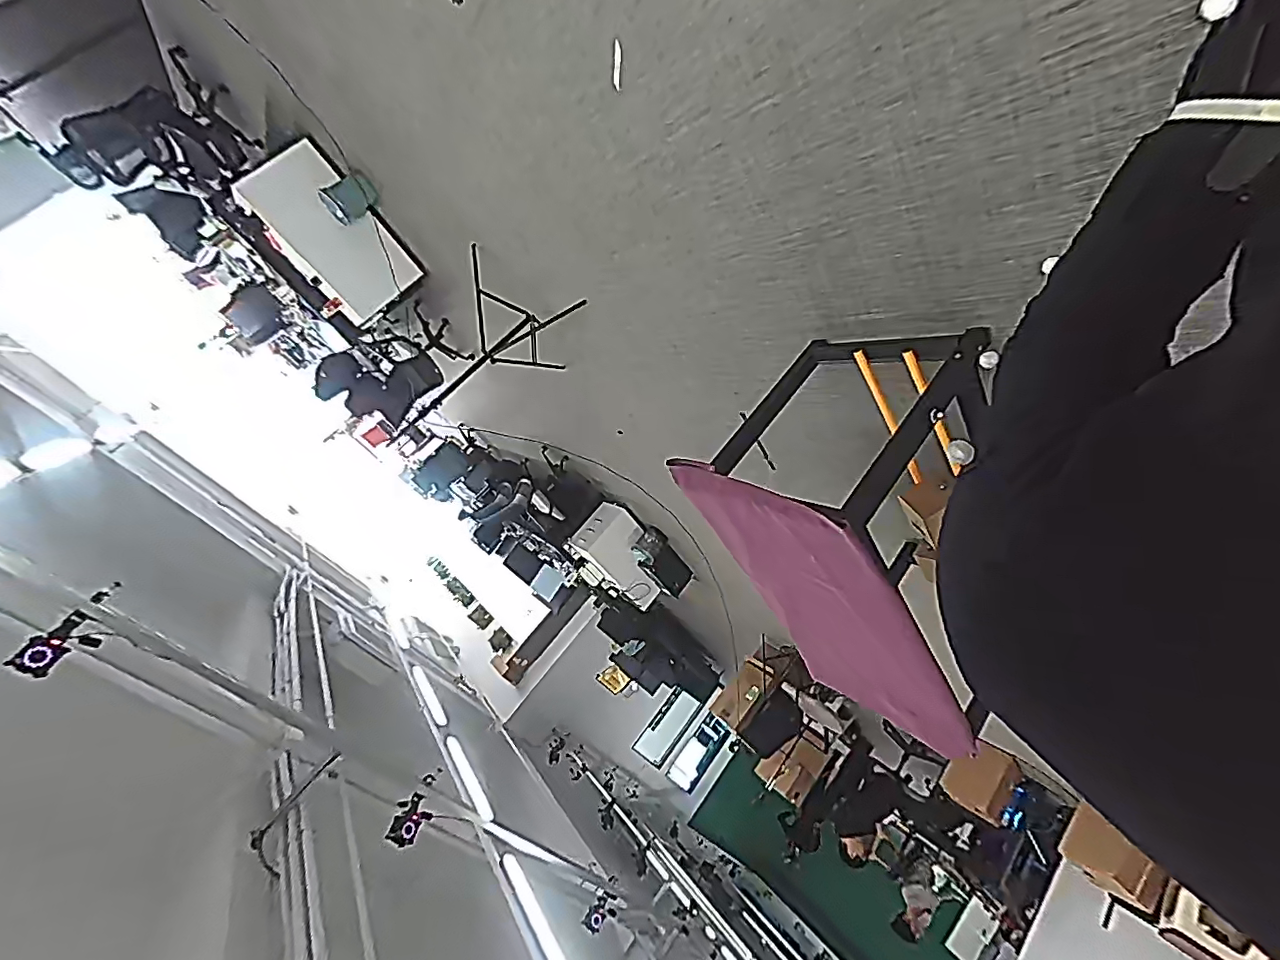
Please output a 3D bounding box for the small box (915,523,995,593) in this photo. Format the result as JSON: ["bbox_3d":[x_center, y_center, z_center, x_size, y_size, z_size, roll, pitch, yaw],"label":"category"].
[{"bbox_3d":[1.144,0.275,1.959,0.168,0.176,0.179,49,160,-27],"label":"small box"}]
